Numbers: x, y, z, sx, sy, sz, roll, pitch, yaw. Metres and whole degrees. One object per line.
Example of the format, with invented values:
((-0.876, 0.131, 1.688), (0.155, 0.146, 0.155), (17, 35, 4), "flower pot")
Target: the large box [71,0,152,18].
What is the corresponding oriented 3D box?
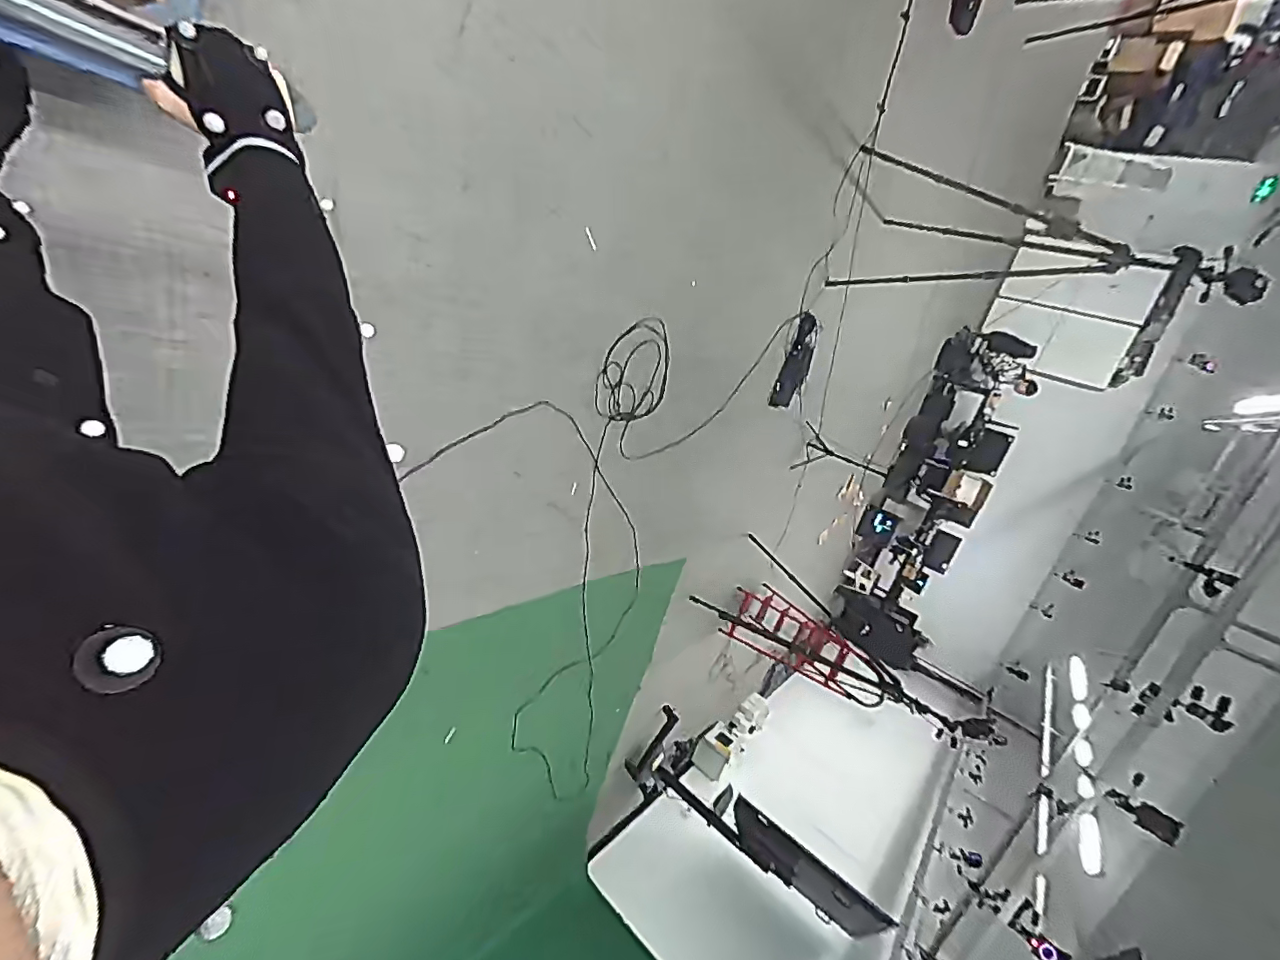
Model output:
((-0.792, -0.867, 0.630), (0.320, 0.320, 0.408), (-6, 117, -53), "large box")
